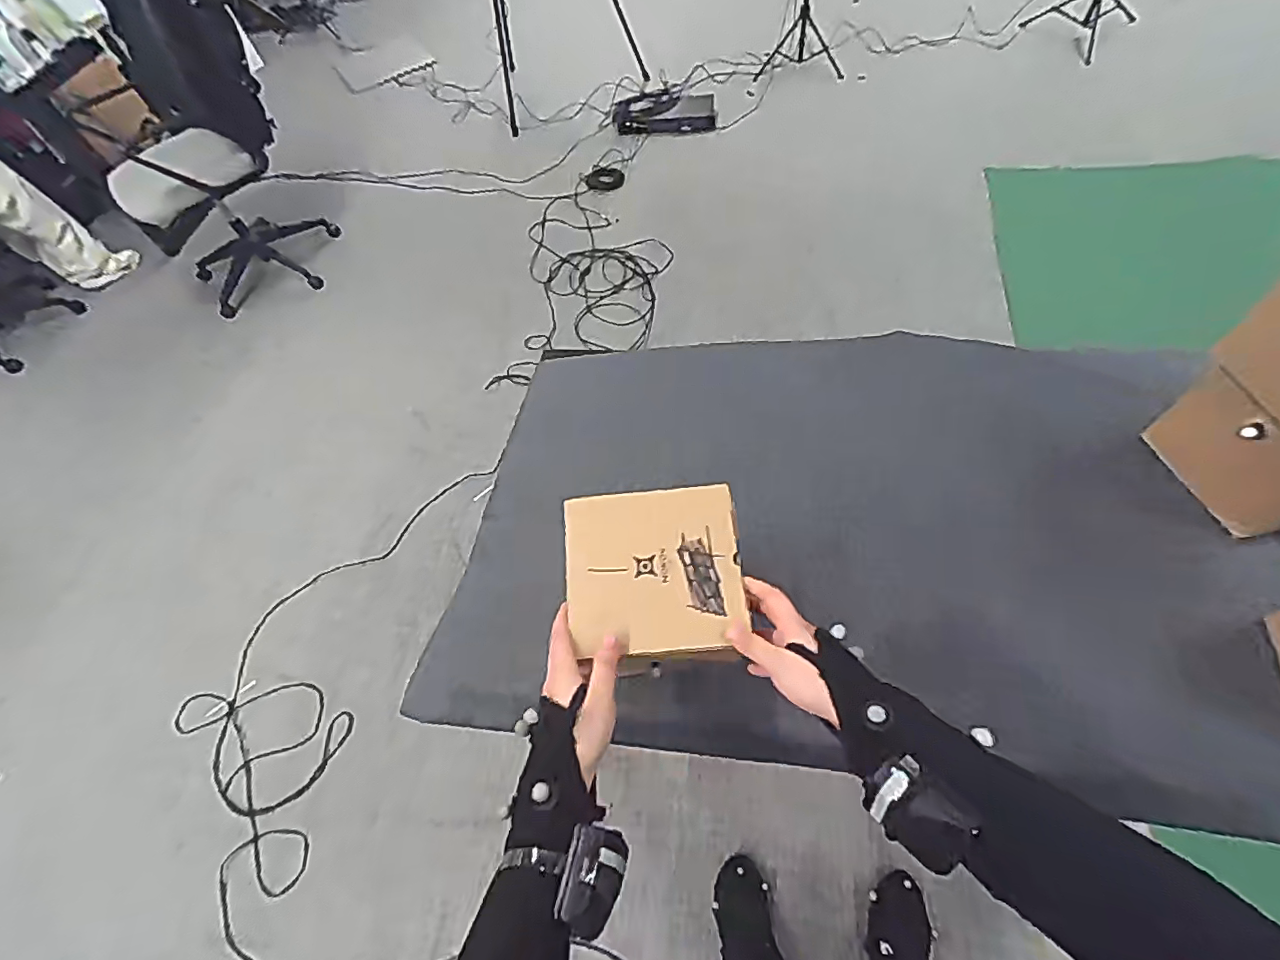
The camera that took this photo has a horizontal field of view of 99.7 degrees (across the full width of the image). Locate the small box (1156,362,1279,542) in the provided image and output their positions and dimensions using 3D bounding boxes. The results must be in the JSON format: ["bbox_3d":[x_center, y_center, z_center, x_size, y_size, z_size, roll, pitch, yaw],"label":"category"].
[{"bbox_3d":[0.795,-0.051,0.645,0.168,0.176,0.179,-17,60,2],"label":"small box"}]

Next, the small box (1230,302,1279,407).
[{"bbox_3d":[0.748,-0.135,0.509,0.168,0.176,0.179,-14,58,5],"label":"small box"}]

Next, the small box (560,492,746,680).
[{"bbox_3d":[0.011,0.127,0.607,0.179,0.176,0.168,-6,64,2],"label":"small box"}]
